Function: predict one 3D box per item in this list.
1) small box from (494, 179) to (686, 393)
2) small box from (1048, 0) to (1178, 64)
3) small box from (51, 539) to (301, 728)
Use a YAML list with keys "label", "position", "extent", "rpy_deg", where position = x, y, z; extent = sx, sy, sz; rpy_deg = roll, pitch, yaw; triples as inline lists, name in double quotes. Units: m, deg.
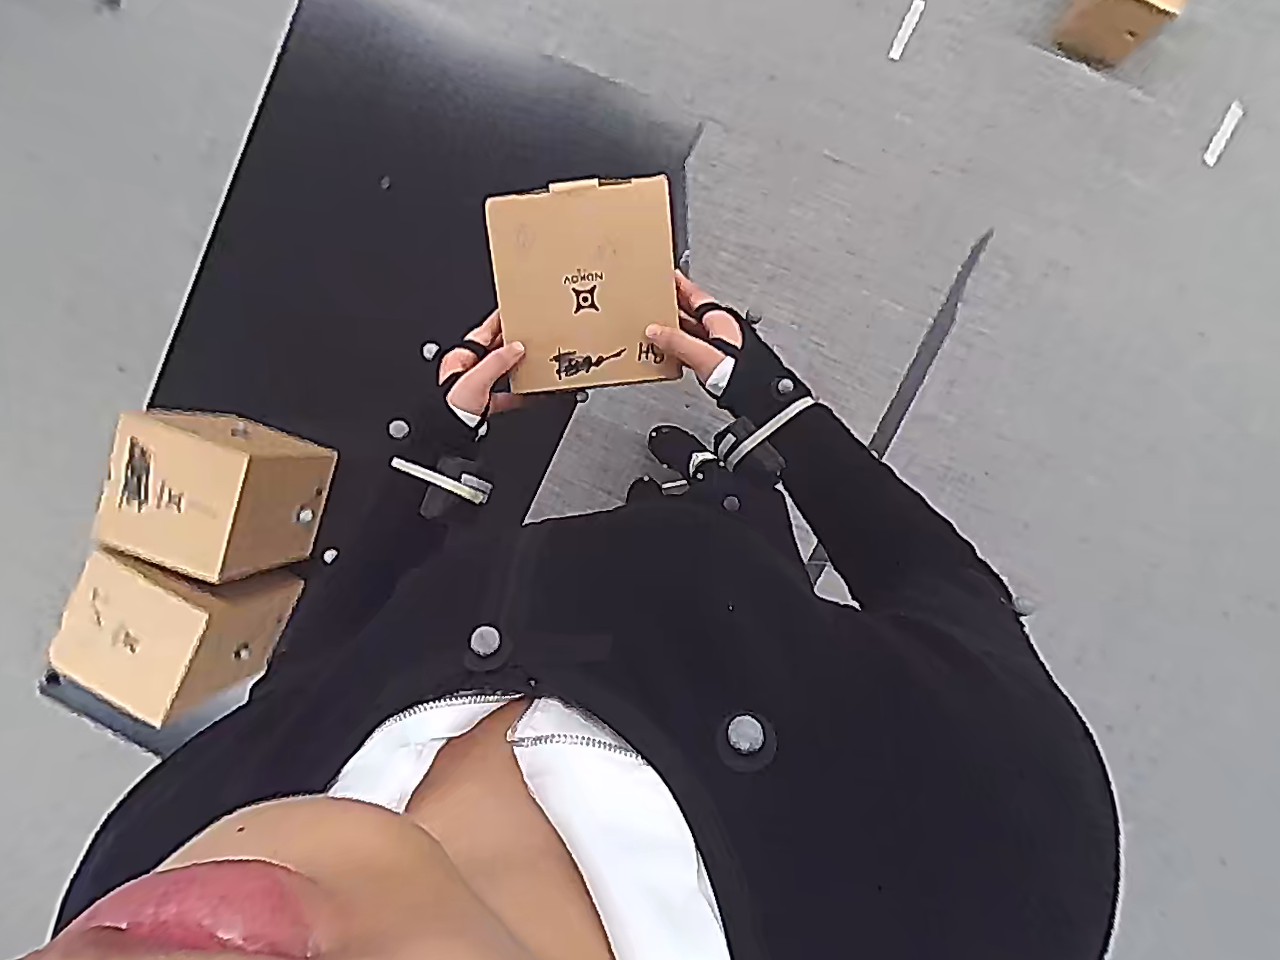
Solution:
- label: "small box"
  position: [-0.039, -0.186, 0.571]
  extent: [0.168, 0.176, 0.179]
  rpy_deg: [-4, 99, 6]
- label: "small box"
  position: [1.106, -1.112, 1.243]
  extent: [0.179, 0.176, 0.168]
  rpy_deg: [24, 94, 4]
- label: "small box"
  position: [-0.622, 0.196, 0.749]
  extent: [0.179, 0.176, 0.168]
  rpy_deg: [28, 94, 4]
